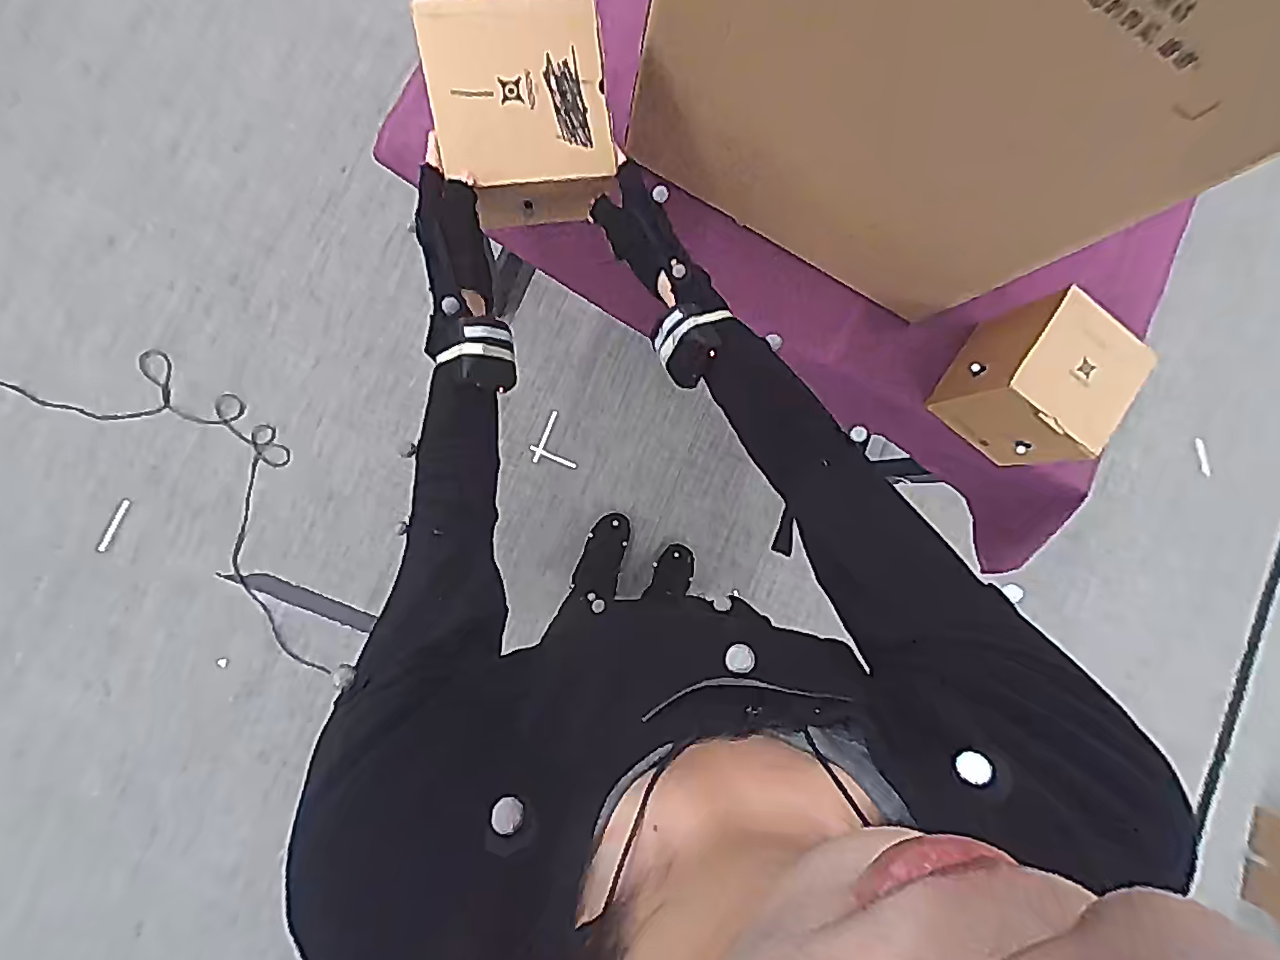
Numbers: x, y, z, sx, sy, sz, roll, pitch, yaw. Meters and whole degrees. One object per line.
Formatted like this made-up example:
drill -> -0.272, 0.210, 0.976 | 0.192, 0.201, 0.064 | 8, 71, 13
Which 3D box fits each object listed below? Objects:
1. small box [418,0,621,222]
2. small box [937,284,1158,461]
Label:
small box -> -0.127, -0.402, 0.604 | 0.179, 0.176, 0.168 | -9, 102, -9
small box -> 0.580, -0.143, 0.797 | 0.168, 0.176, 0.179 | 35, 82, -7
